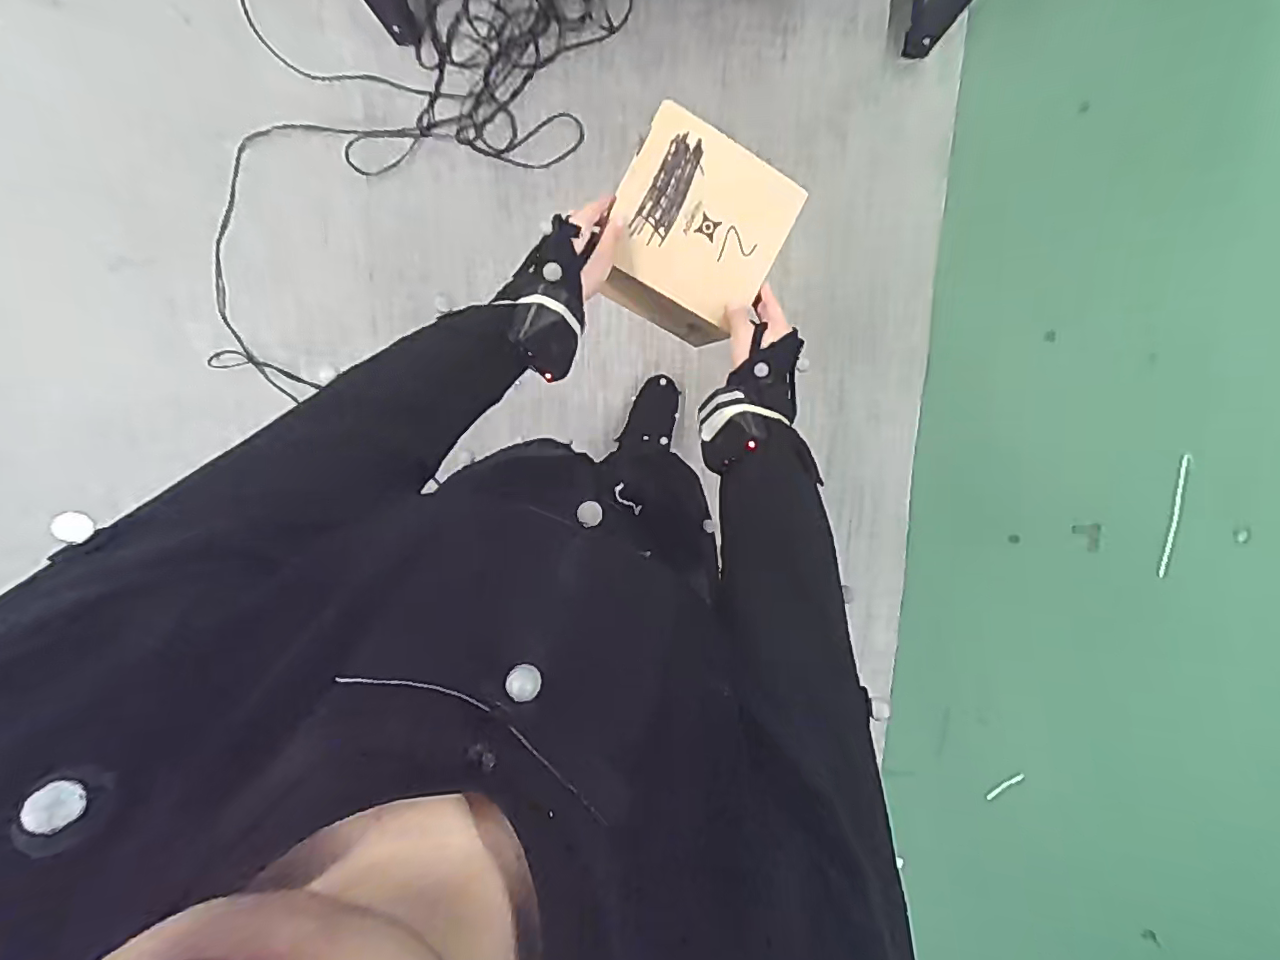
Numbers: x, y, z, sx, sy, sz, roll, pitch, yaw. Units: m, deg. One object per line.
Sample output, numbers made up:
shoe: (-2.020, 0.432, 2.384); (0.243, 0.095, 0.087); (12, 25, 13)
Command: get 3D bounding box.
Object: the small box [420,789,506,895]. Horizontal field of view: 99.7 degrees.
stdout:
small box: (-0.456, 0.944, 1.423); (0.179, 0.176, 0.168); (1, 100, 2)
